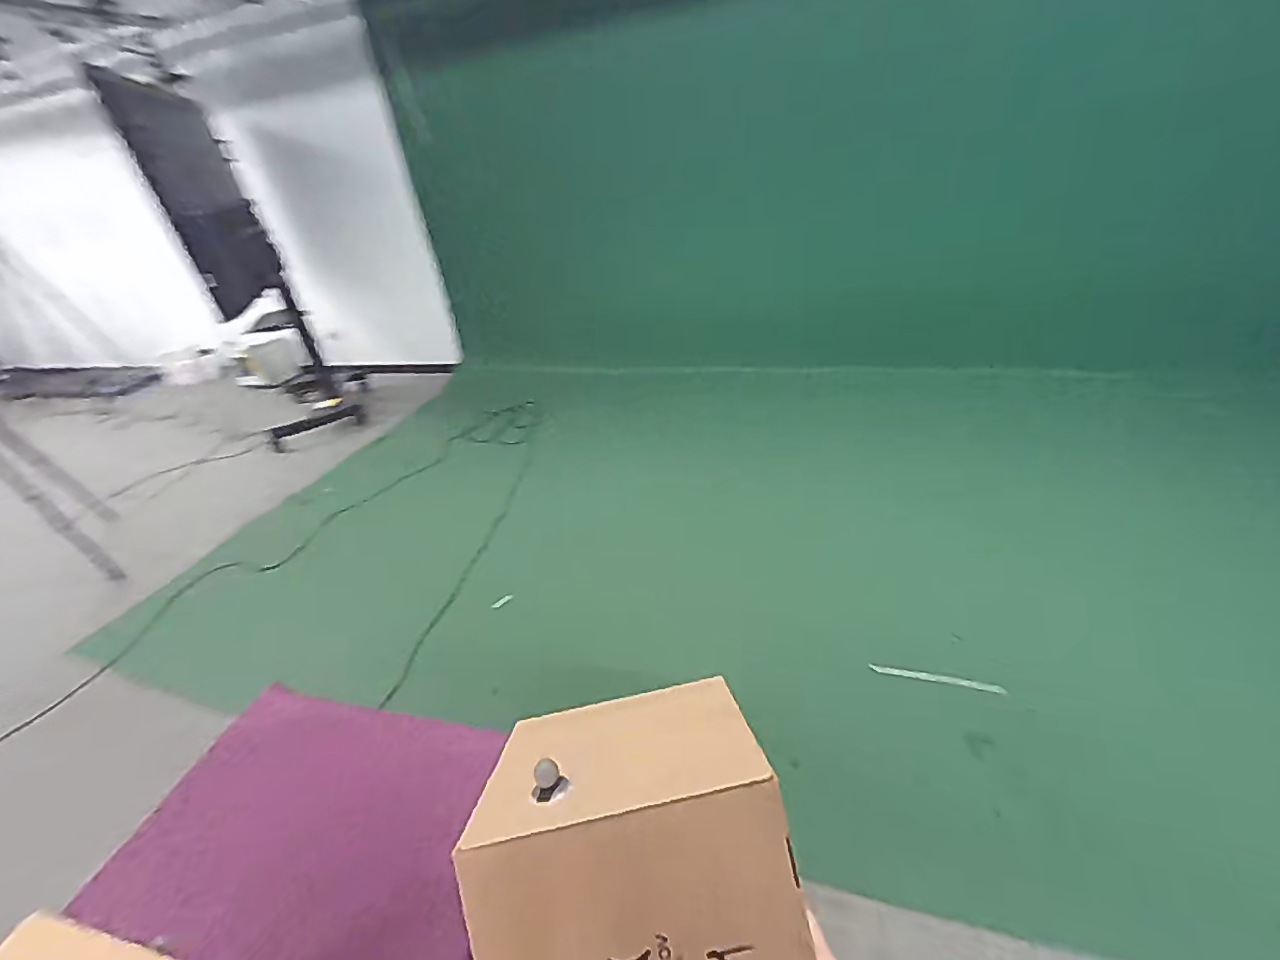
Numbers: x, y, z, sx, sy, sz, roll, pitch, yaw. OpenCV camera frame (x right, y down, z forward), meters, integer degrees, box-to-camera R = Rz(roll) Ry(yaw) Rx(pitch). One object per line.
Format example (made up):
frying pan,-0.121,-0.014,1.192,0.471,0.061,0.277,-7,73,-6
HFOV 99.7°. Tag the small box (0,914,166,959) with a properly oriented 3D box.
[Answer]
small box,-0.434,0.482,0.417,0.179,0.176,0.168,1,34,16

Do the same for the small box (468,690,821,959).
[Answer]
small box,0.009,0.262,0.361,0.179,0.168,0.176,-11,-1,-1
